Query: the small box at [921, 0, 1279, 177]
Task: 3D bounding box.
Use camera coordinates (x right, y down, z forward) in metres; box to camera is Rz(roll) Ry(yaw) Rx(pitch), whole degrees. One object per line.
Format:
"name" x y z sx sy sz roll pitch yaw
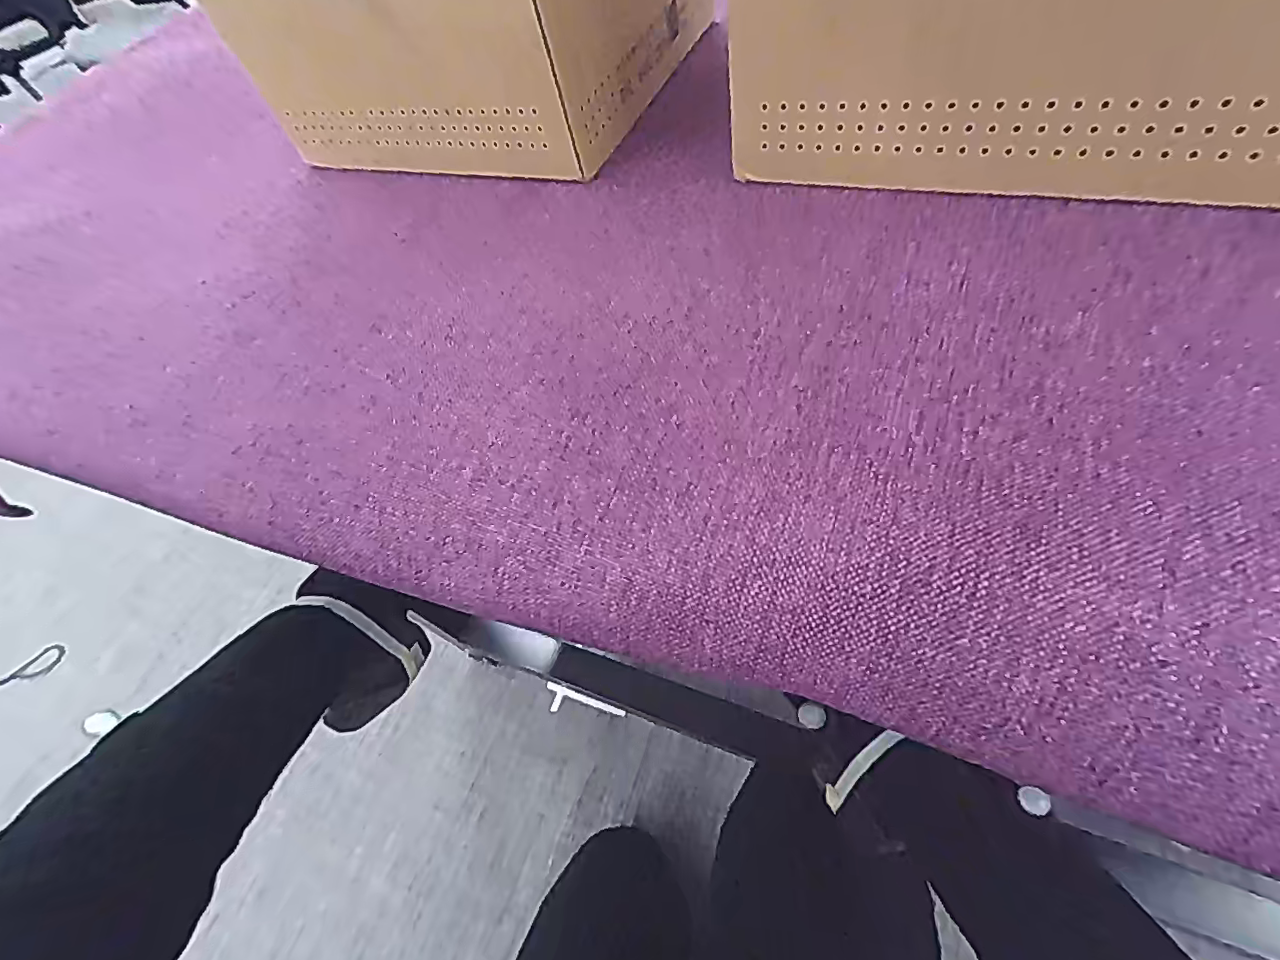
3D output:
"small box" 0.179 -0.204 0.121 0.179 0.176 0.168 -6 96 14
